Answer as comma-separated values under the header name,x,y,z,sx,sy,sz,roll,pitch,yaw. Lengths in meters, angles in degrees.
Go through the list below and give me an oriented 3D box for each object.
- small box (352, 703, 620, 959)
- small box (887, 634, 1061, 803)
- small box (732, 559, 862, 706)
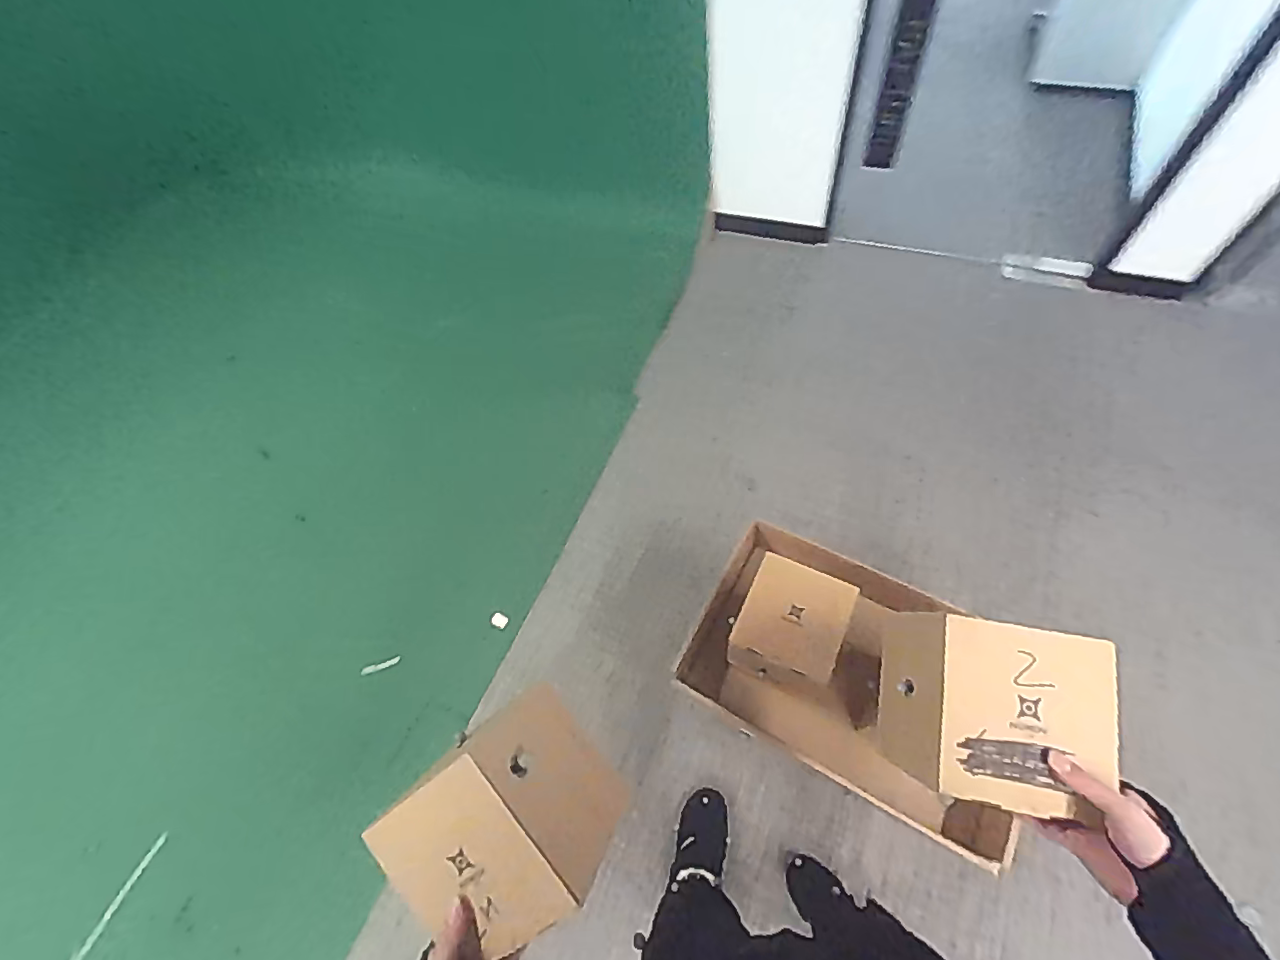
name,x,y,z,sx,sy,sz,roll,pitch,yaw
small box,-0.149,0.369,0.576,0.168,0.176,0.179,-42,84,13
small box,0.511,0.377,0.853,0.168,0.176,0.179,25,66,20
small box,0.267,0.272,0.954,0.168,0.176,0.179,21,65,18
